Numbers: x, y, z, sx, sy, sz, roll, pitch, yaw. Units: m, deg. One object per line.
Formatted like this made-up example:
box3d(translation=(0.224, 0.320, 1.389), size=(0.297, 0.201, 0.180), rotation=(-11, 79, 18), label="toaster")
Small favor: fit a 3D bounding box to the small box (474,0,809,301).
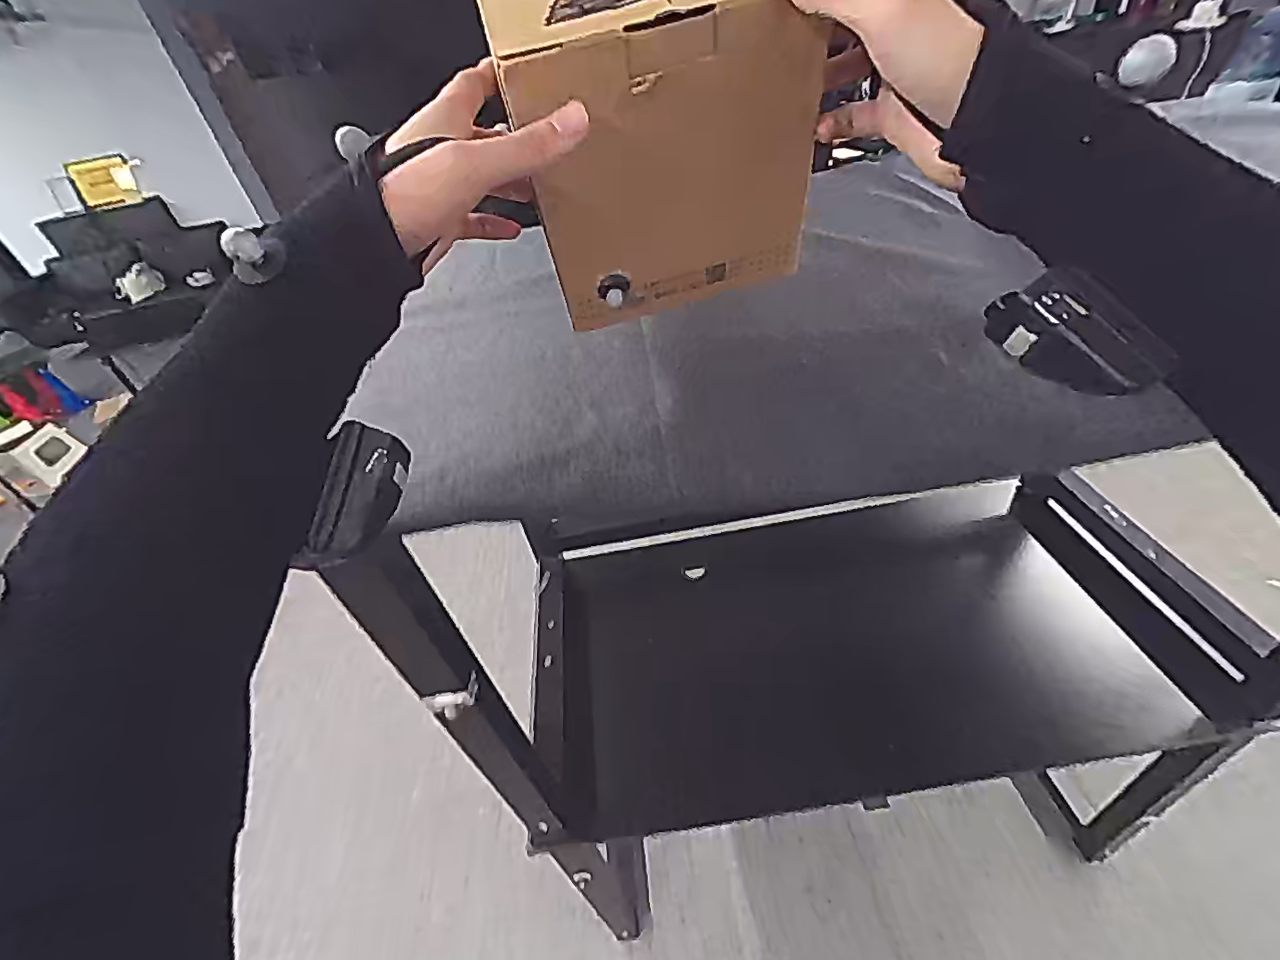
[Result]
box3d(translation=(-0.002, -0.243, 0.363), size=(0.168, 0.176, 0.179), rotation=(-16, 57, -2), label="small box")
